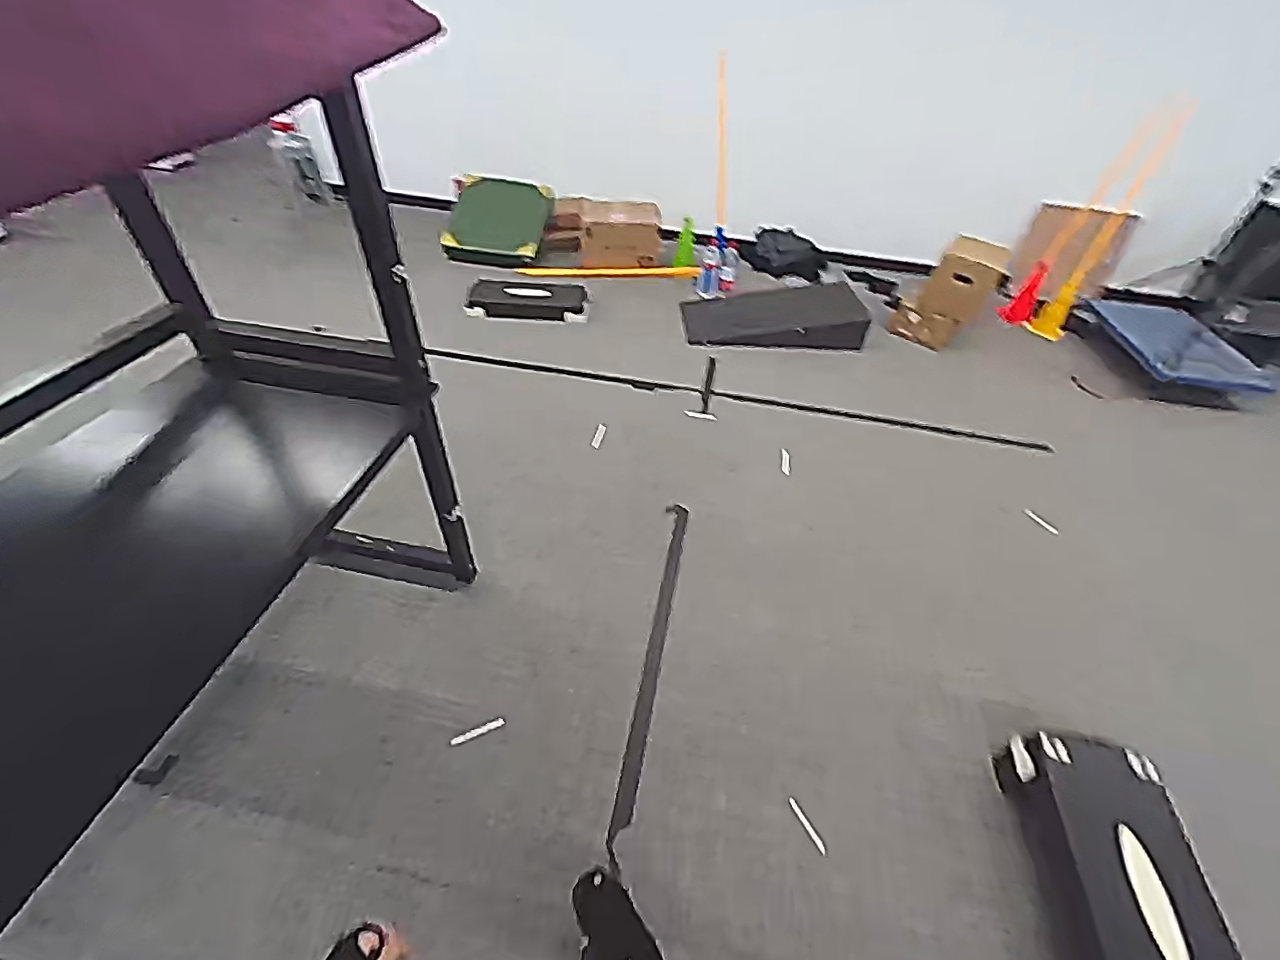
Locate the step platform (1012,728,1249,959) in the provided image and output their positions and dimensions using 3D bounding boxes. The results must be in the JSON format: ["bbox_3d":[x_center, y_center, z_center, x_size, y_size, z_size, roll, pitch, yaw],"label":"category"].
[{"bbox_3d":[1.043,0.904,1.149,0.286,0.204,0.684,14,43,10],"label":"step platform"}]
